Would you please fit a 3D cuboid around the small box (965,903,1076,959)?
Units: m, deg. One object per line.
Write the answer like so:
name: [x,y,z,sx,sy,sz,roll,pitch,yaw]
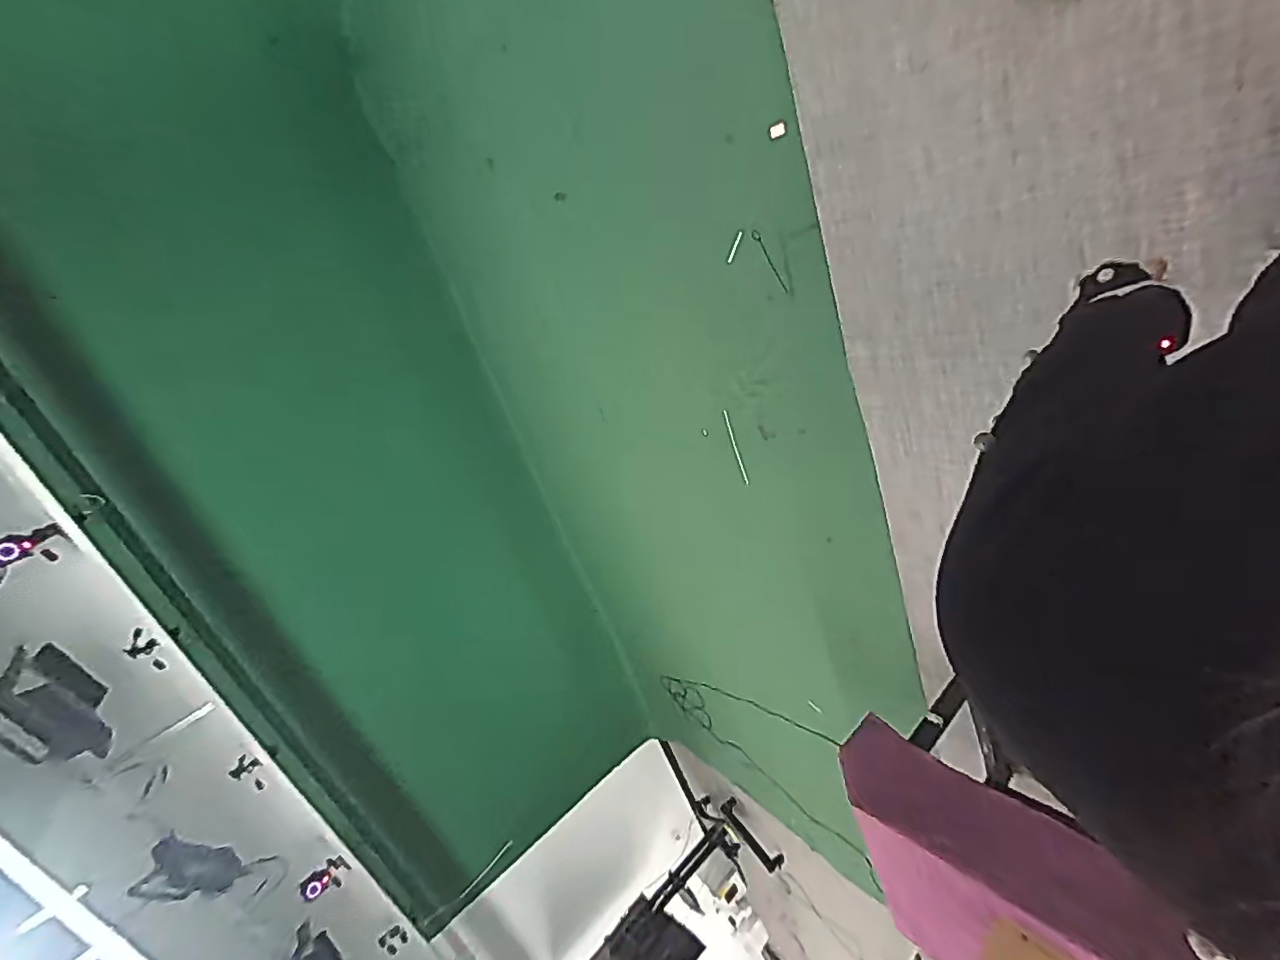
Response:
small box: [0.882,1.140,1.237,0.168,0.176,0.179,5,124,55]
